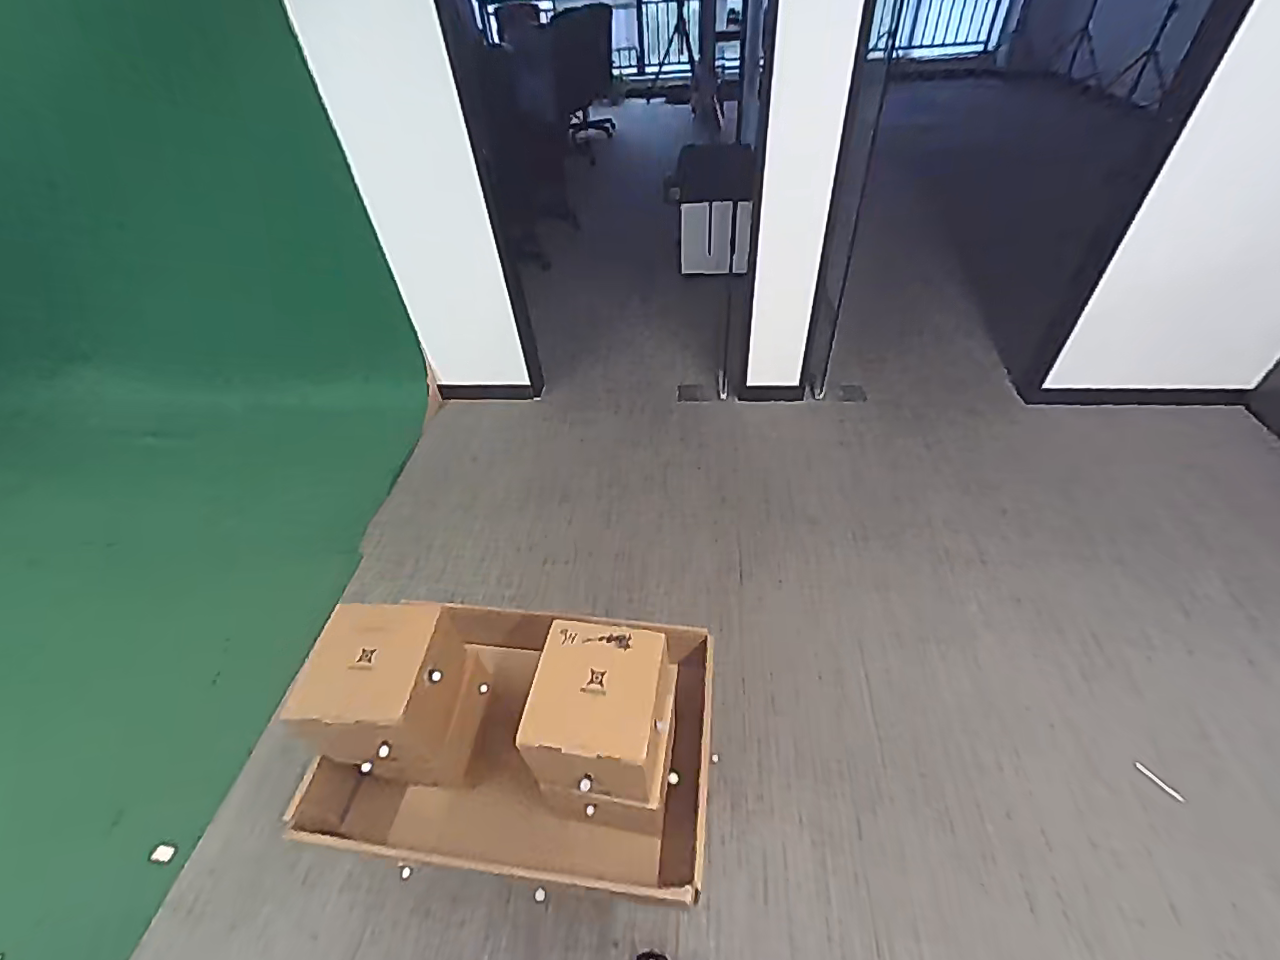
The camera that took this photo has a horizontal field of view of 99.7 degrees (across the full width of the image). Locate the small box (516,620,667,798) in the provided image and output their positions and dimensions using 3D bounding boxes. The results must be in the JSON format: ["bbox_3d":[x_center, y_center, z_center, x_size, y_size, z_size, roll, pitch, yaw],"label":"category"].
[{"bbox_3d":[-0.053,0.323,0.761,0.168,0.176,0.179,5,47,9],"label":"small box"}]

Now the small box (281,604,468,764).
[{"bbox_3d":[-0.376,0.307,0.809,0.168,0.176,0.179,1,45,5],"label":"small box"}]
